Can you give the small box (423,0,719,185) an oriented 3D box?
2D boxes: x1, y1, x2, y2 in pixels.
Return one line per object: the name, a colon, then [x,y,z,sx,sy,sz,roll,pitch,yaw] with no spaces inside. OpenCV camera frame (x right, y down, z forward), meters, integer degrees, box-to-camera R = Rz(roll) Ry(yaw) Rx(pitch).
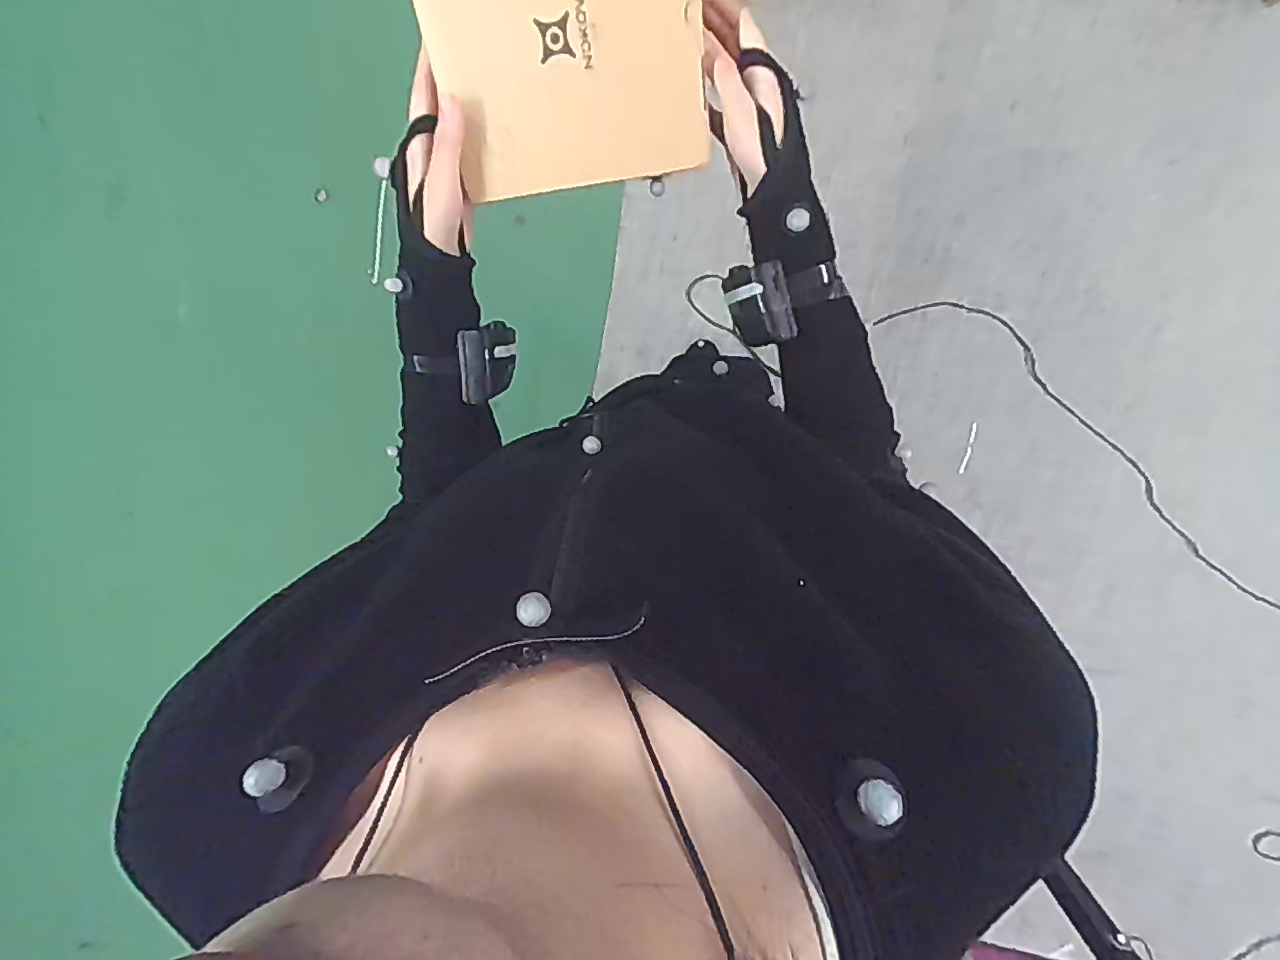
small box: [-0.041,-0.322,0.396,0.179,0.176,0.168,-7,121,5]
